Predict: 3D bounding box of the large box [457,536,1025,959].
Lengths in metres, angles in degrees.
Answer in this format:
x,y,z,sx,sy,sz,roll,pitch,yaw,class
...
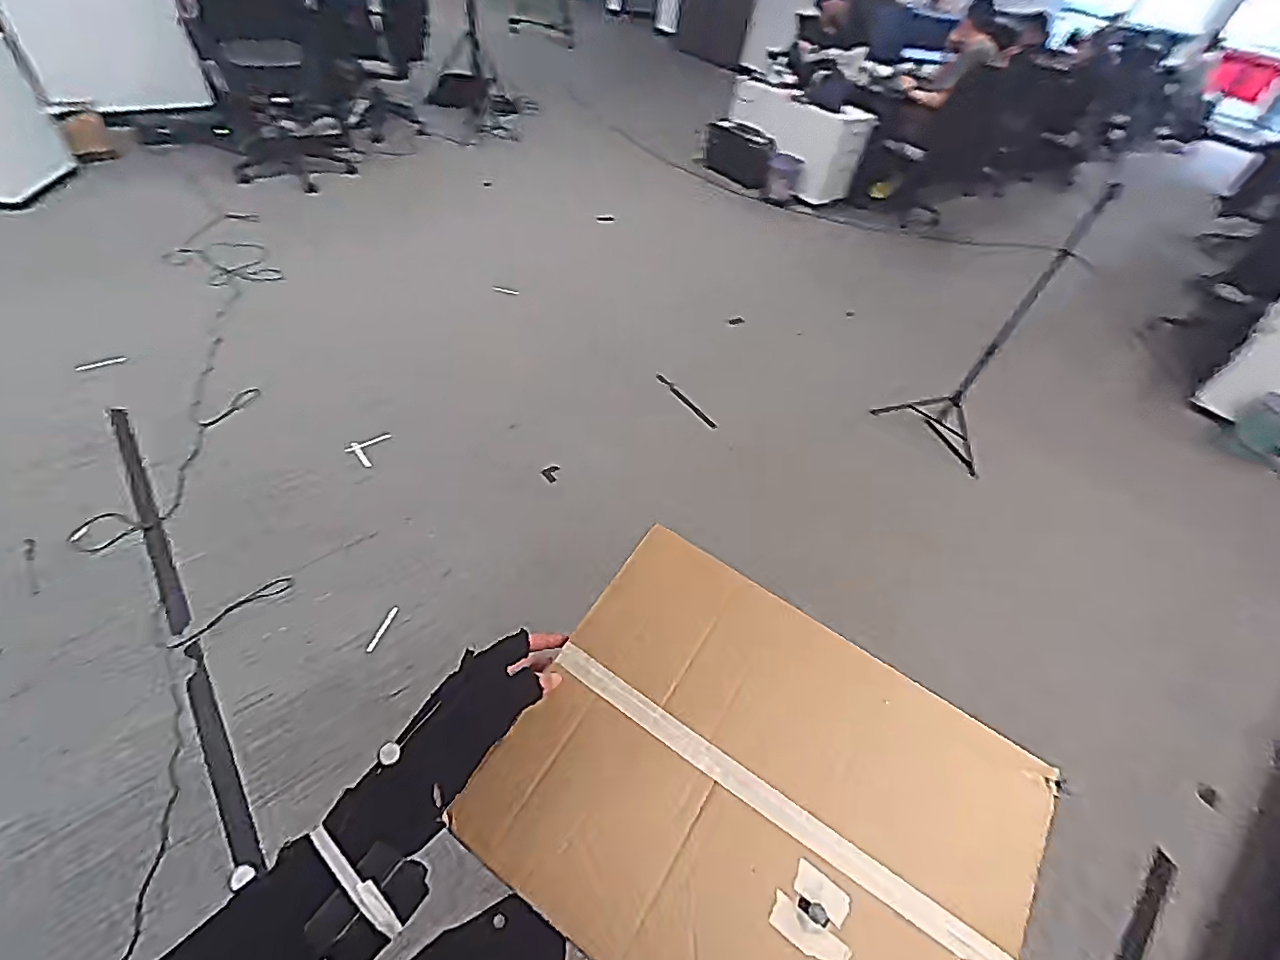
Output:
x,y,z,sx,sy,sz,roll,pitch,yaw,class
0.087,0.333,0.586,0.408,0.320,0.320,31,64,14,large box
